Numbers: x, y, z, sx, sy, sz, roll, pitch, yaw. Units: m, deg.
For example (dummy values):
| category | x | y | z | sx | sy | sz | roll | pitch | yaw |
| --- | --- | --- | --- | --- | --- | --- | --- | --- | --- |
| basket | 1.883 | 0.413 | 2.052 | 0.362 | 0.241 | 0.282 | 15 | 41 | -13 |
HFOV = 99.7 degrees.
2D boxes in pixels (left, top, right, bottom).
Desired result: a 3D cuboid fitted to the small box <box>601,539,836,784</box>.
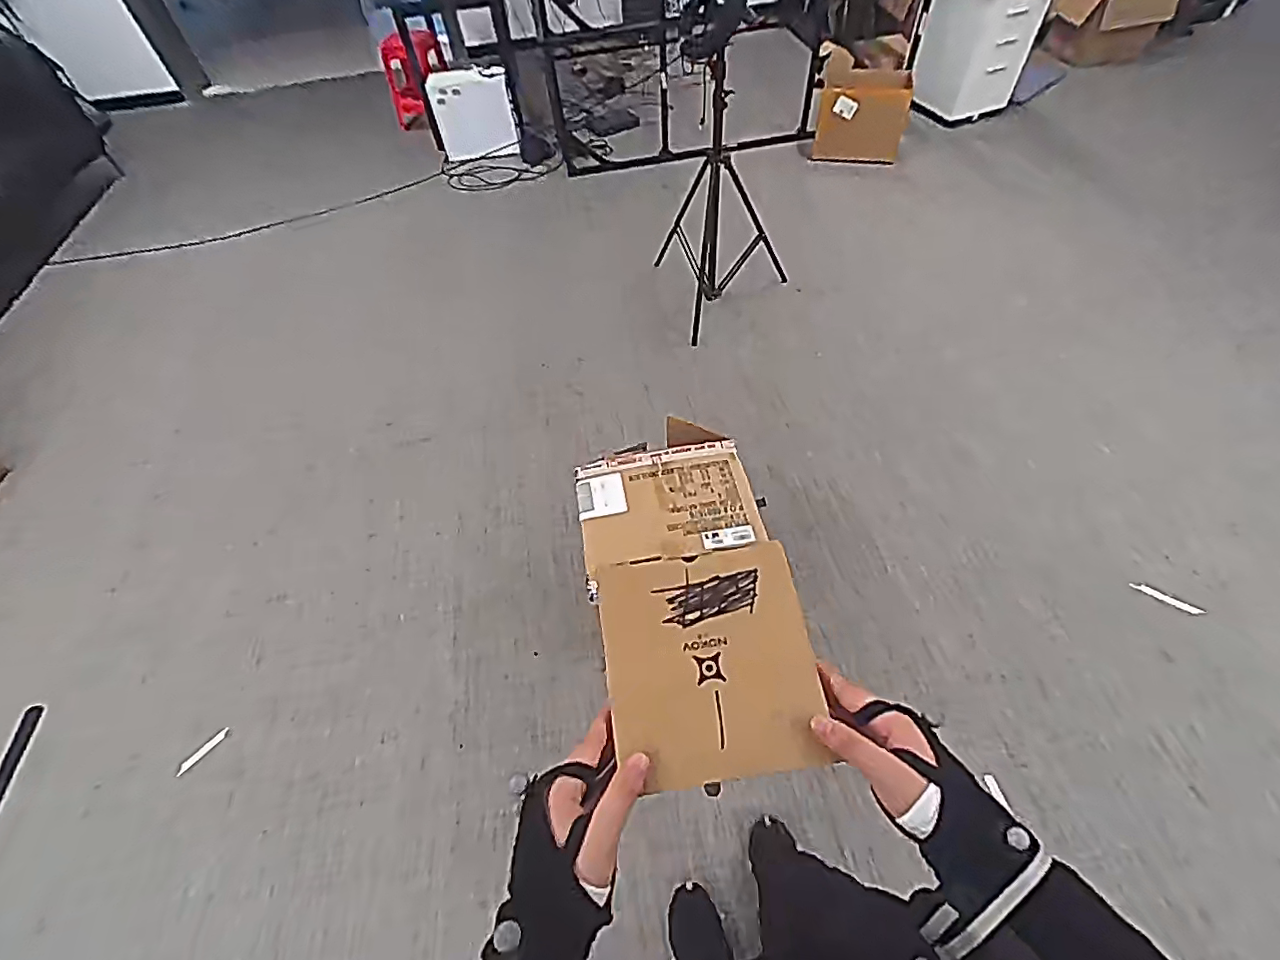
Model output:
| category | x | y | z | sx | sy | sz | roll | pitch | yaw |
| --- | --- | --- | --- | --- | --- | --- | --- | --- | --- |
| small box | 0.057 | 0.174 | 0.508 | 0.168 | 0.176 | 0.179 | -8 | 64 | -2 |
